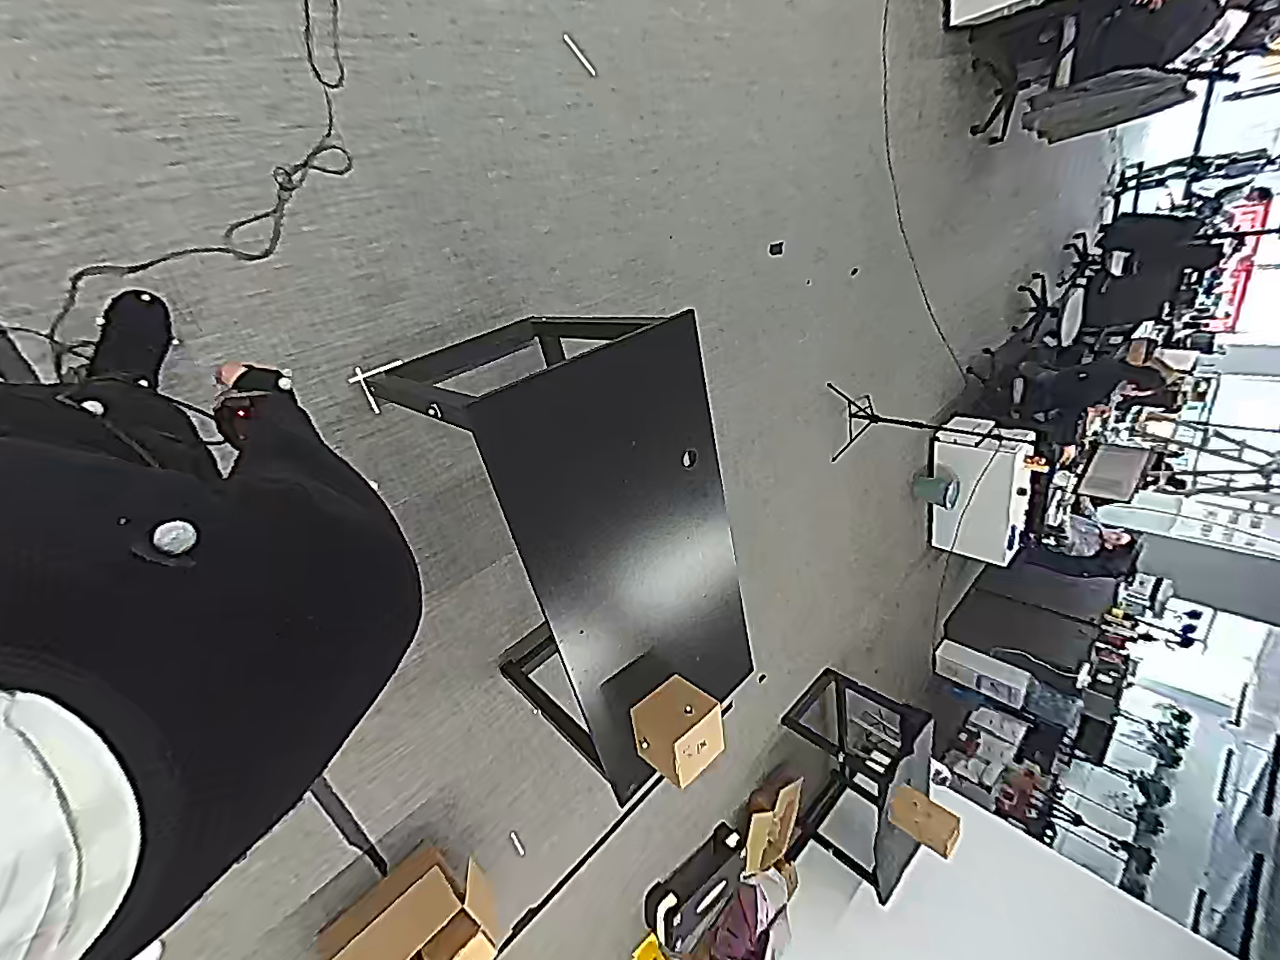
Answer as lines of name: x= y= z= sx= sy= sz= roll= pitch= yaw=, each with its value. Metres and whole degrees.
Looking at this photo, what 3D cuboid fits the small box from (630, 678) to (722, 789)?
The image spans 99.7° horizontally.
small box: x=0.097 y=0.669 z=1.450 sx=0.179 sy=0.176 sz=0.168 roll=-24 pitch=117 yaw=-36
